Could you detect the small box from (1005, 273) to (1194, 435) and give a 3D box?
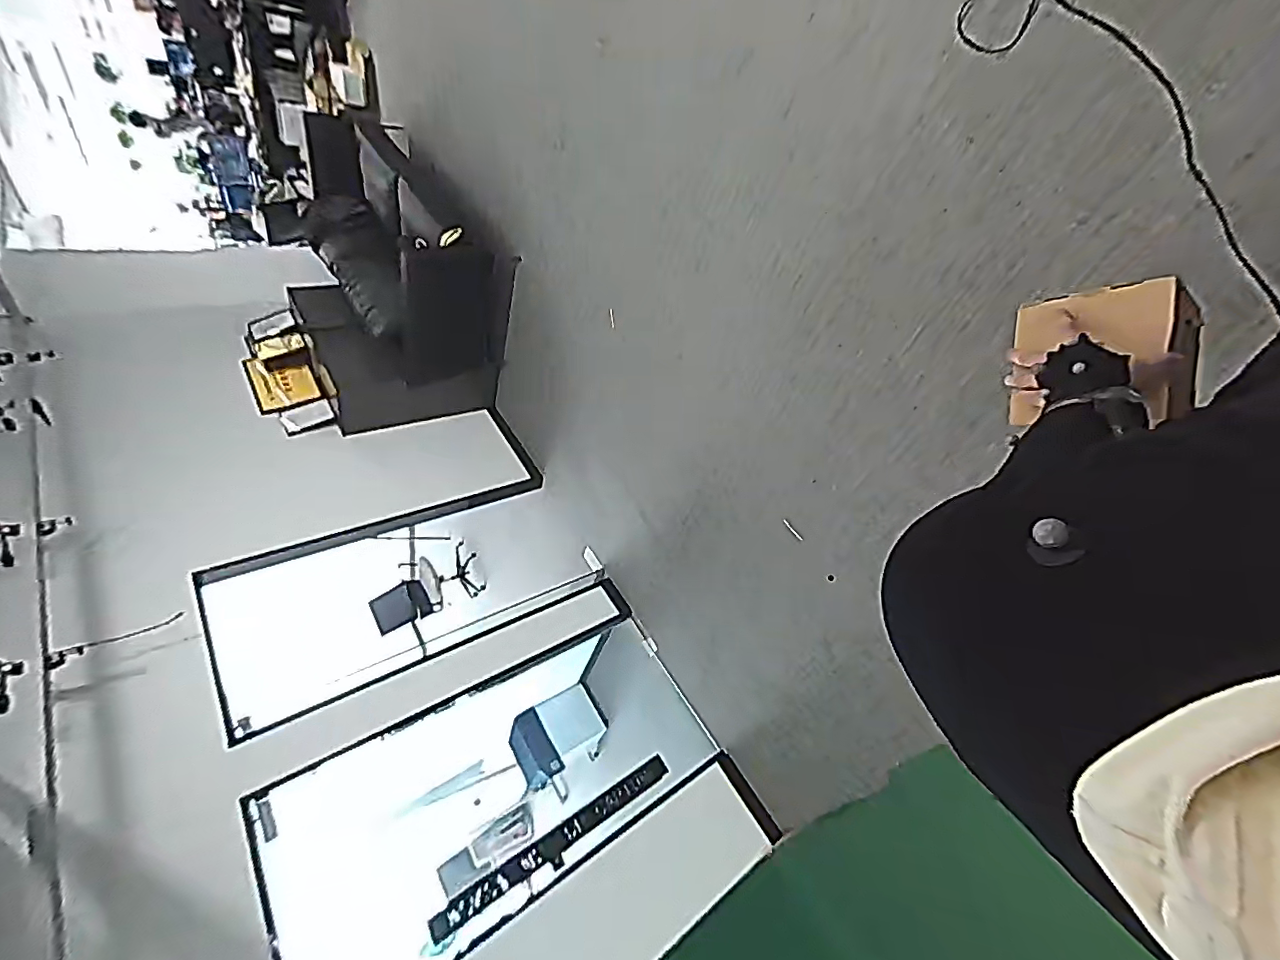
[{"bbox_3d":[0.642,-0.161,0.756,0.168,0.176,0.179,4,89,54],"label":"small box"}]
